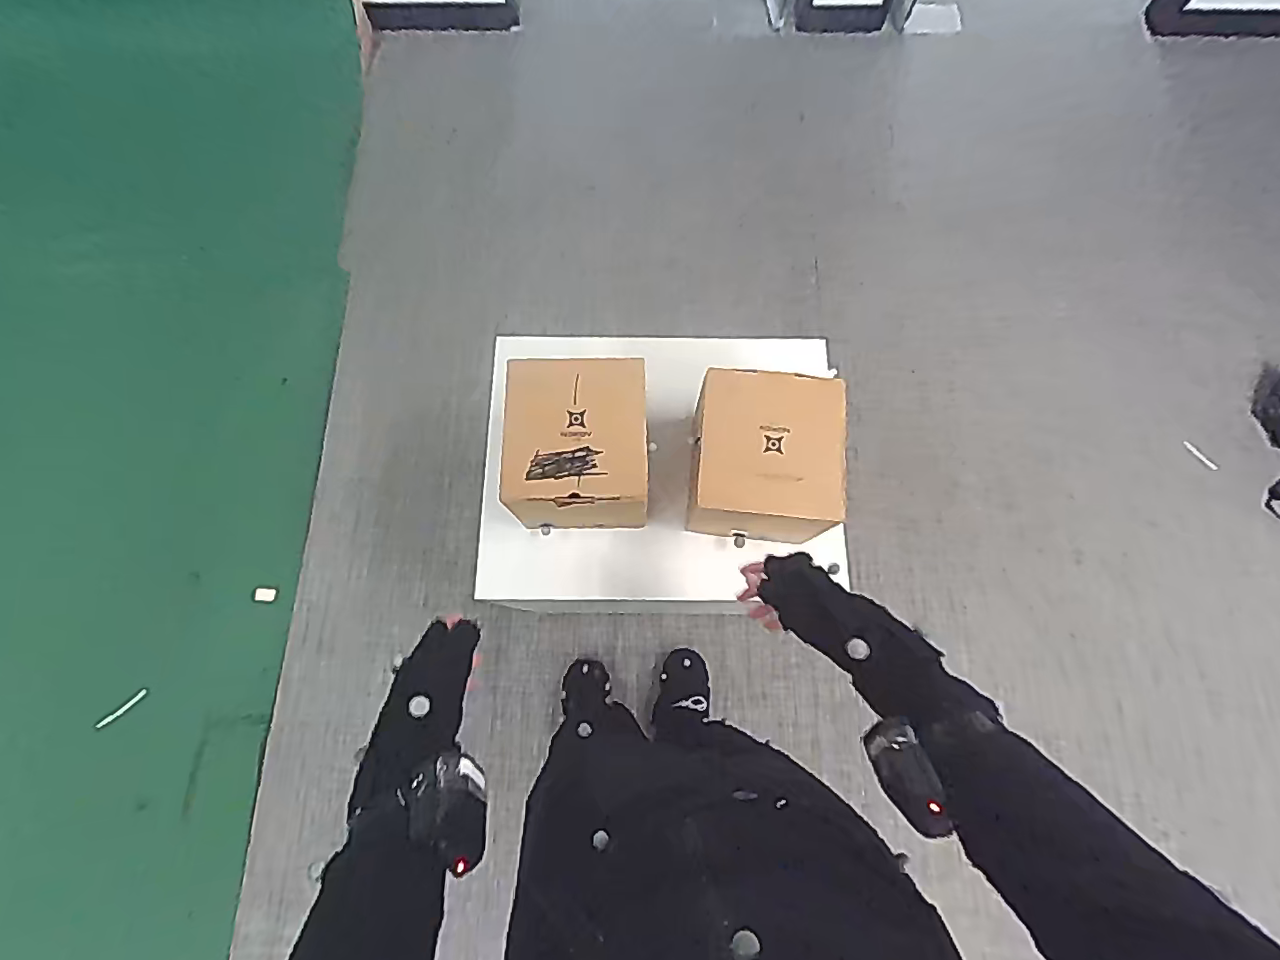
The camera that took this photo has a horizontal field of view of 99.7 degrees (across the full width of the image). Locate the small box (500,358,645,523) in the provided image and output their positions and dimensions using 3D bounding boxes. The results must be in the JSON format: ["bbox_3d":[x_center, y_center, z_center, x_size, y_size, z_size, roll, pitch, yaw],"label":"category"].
[{"bbox_3d":[-0.076,-0.042,0.706,0.168,0.176,0.179,0,73,-1],"label":"small box"}]

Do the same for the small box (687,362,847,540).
[{"bbox_3d":[0.152,-0.028,0.689,0.168,0.176,0.179,5,75,2],"label":"small box"}]
